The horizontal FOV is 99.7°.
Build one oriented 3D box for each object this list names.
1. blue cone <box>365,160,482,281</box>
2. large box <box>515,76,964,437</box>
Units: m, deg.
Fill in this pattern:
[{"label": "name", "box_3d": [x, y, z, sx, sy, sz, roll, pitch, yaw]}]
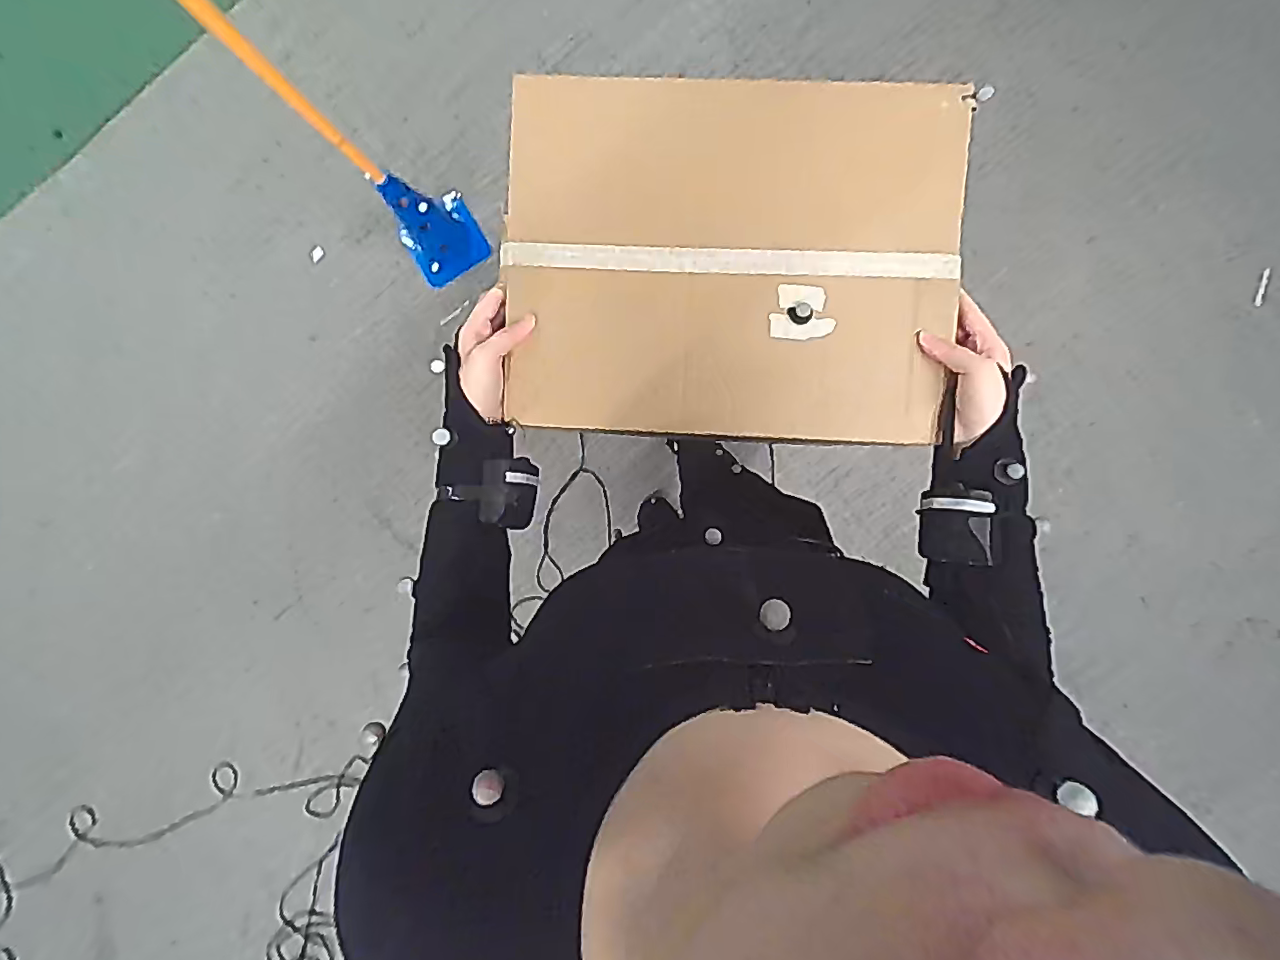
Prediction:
[{"label": "blue cone", "box_3d": [-0.546, -0.646, 1.305, 0.193, 0.380, 0.192, -30, 92, 3]}, {"label": "large box", "box_3d": [0.088, -0.215, 0.643, 0.408, 0.320, 0.320, 3, 94, 1]}]
